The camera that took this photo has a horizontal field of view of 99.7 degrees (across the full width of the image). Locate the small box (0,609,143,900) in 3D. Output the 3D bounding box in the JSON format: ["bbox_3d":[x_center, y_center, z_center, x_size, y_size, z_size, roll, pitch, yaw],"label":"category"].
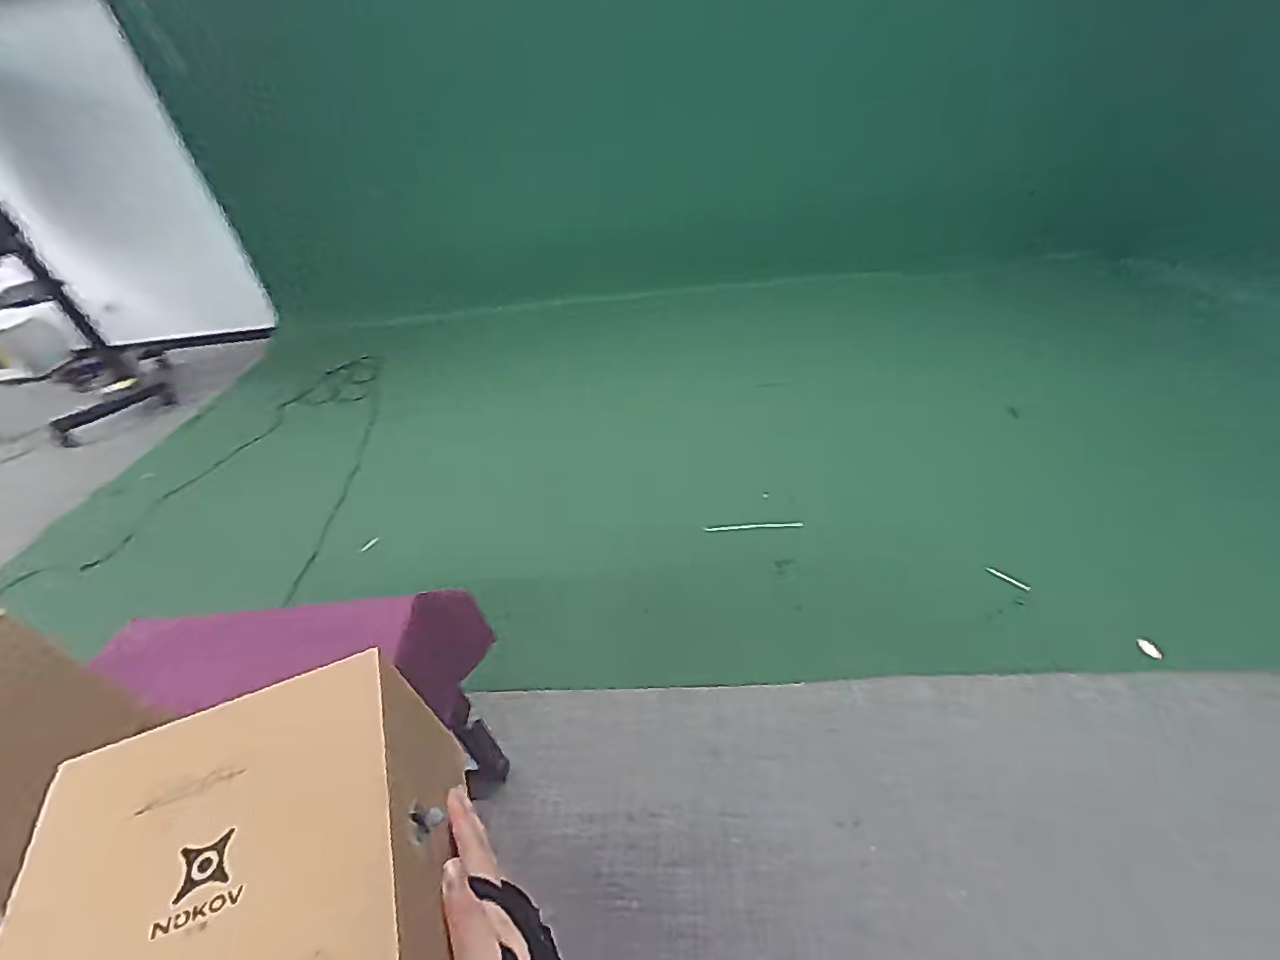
[{"bbox_3d":[-0.578,0.227,0.429,0.179,0.176,0.168,-8,41,4],"label":"small box"}]

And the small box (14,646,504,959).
[{"bbox_3d":[-0.185,0.233,0.307,0.168,0.176,0.179,-17,46,-12],"label":"small box"}]
